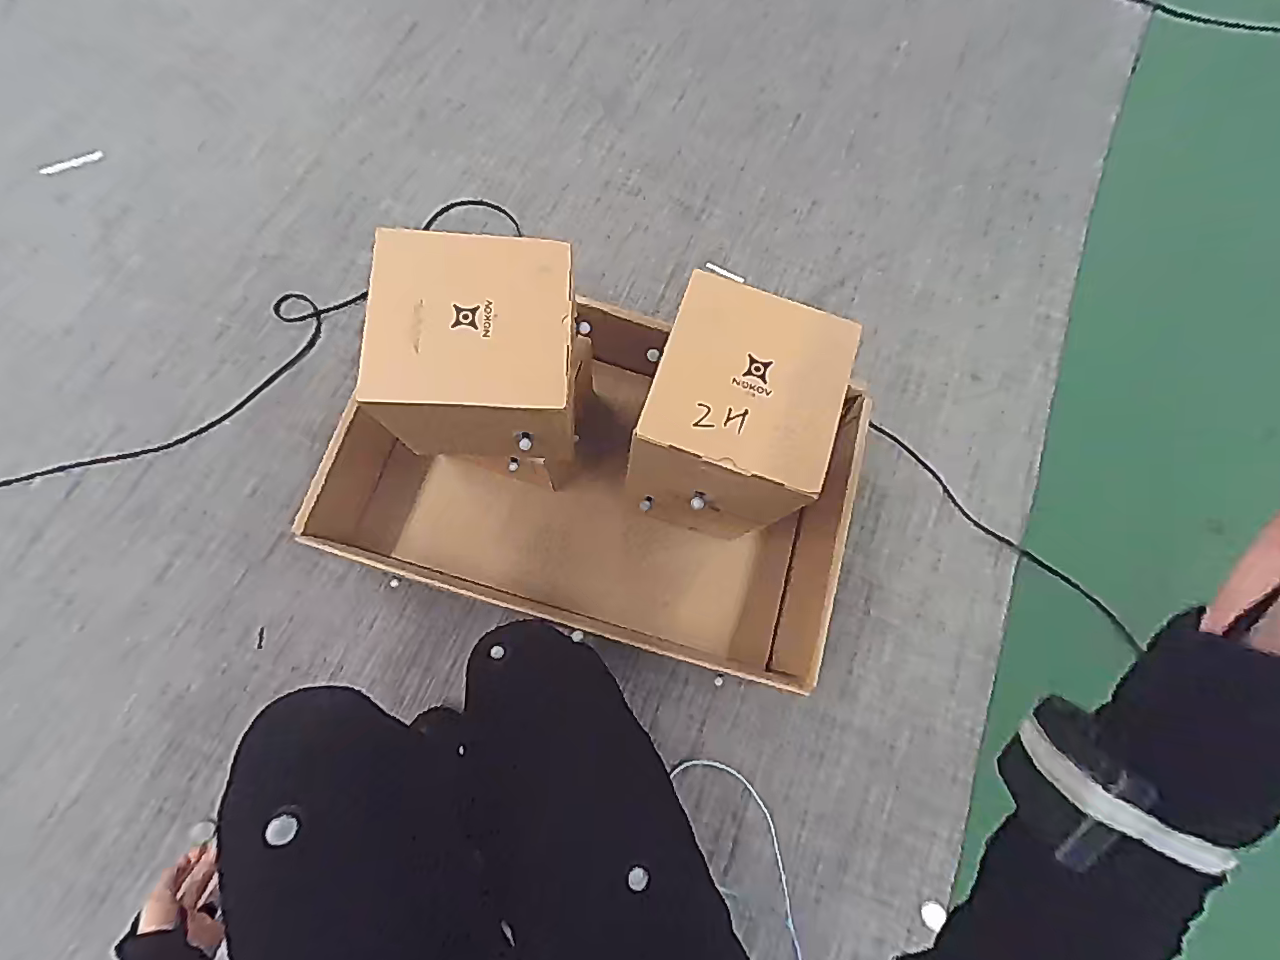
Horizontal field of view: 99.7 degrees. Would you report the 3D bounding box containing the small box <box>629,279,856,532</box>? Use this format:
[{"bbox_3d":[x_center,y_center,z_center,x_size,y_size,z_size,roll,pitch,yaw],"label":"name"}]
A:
[{"bbox_3d":[0.090,-0.062,0.554,0.168,0.176,0.179,19,76,1],"label":"small box"}]

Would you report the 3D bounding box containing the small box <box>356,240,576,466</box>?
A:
[{"bbox_3d":[-0.156,-0.114,0.551,0.179,0.176,0.168,2,77,-5],"label":"small box"}]
